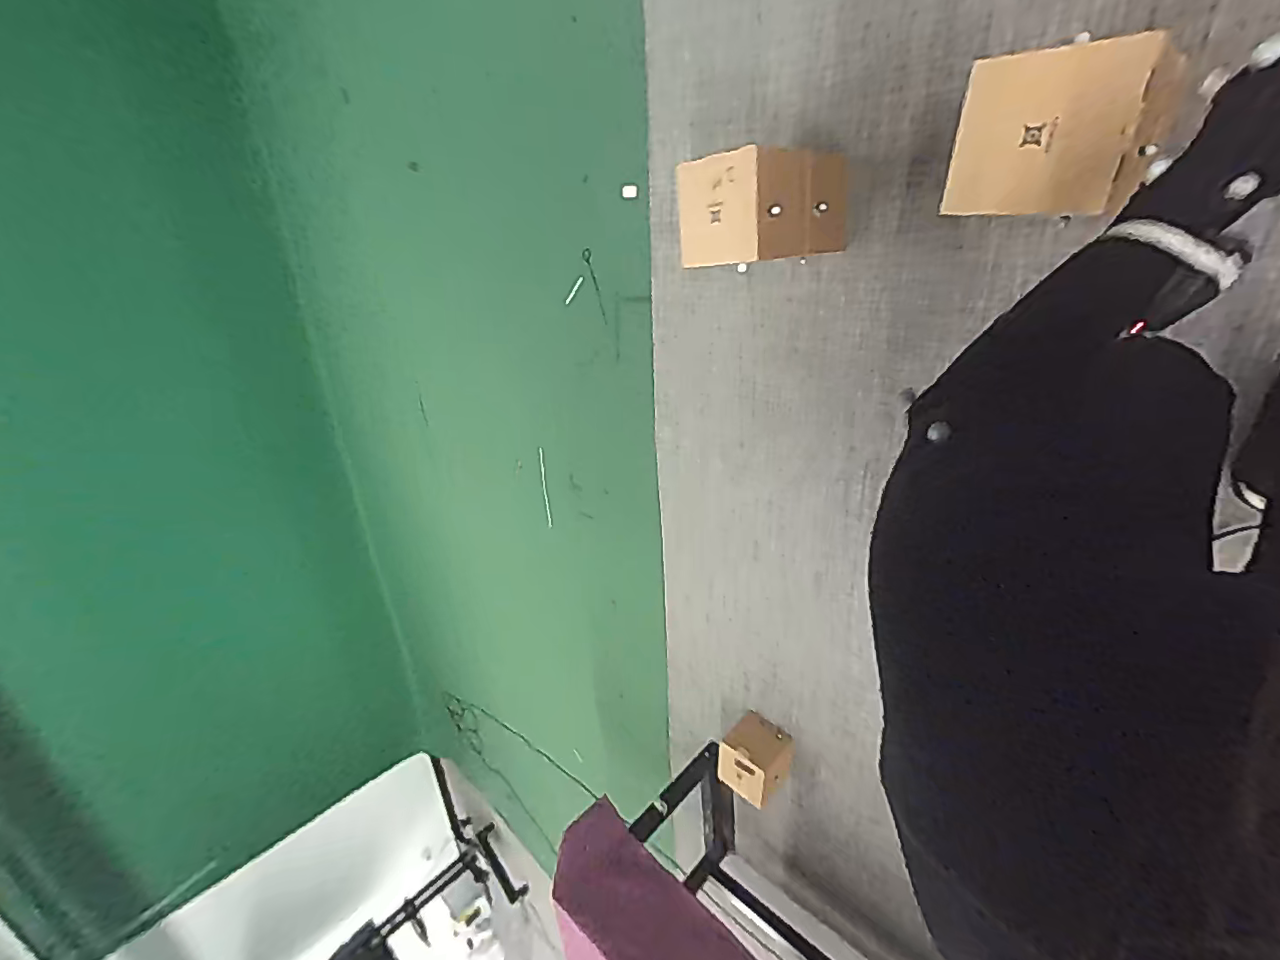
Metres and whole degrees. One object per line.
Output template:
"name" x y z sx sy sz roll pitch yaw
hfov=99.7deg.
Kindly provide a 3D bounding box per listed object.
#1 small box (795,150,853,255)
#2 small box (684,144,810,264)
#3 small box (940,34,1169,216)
"small box" 0.316 -0.557 1.101 0.168 0.176 0.179 18 120 41
"small box" 0.200 -0.502 0.998 0.168 0.176 0.179 16 120 41
"small box" 0.520 -0.429 0.685 0.179 0.176 0.168 24 124 39
